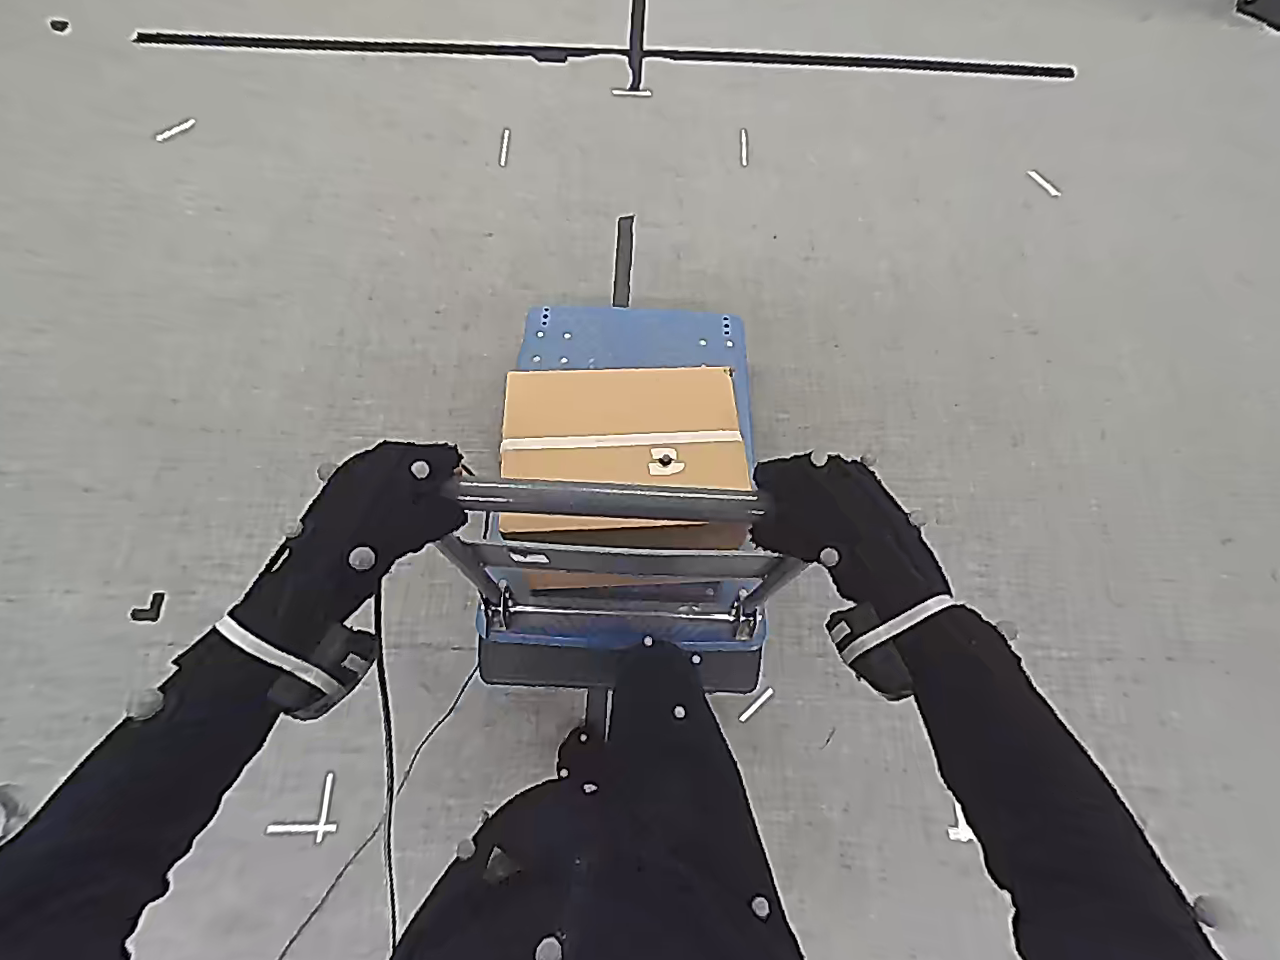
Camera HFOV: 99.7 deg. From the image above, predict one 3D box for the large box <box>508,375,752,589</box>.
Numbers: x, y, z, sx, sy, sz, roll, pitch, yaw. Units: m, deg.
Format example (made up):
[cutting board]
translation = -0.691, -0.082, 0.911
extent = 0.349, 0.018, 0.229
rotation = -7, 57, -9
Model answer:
[large box]
translation = -0.033, 0.015, 1.067
extent = 0.408, 0.320, 0.320
rotation = -2, 63, -4
